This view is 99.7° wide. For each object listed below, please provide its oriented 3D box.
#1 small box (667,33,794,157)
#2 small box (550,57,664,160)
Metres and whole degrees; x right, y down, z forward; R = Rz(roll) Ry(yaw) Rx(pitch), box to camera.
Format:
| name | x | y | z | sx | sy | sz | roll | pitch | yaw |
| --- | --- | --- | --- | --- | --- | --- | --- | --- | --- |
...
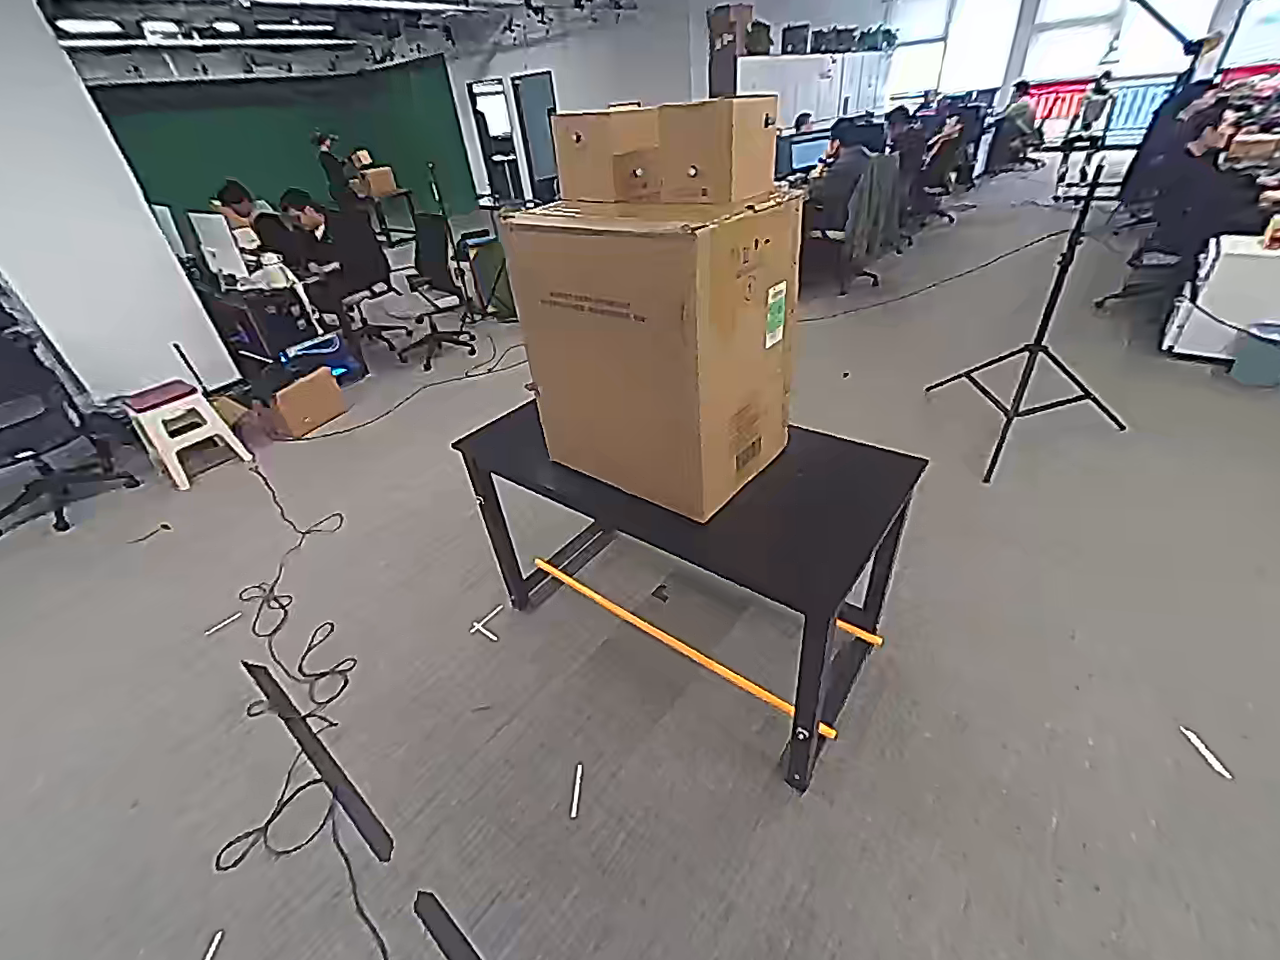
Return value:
| name | x | y | z | sx | sy | sz | roll | pitch | yaw |
| --- | --- | --- | --- | --- | --- | --- | --- | --- | --- |
| small box | 0.165 | -0.698 | 0.994 | 0.168 | 0.176 | 0.179 | 19 | 41 | 33 |
| small box | -0.065 | -0.780 | 1.144 | 0.179 | 0.176 | 0.168 | 24 | 44 | 33 |
